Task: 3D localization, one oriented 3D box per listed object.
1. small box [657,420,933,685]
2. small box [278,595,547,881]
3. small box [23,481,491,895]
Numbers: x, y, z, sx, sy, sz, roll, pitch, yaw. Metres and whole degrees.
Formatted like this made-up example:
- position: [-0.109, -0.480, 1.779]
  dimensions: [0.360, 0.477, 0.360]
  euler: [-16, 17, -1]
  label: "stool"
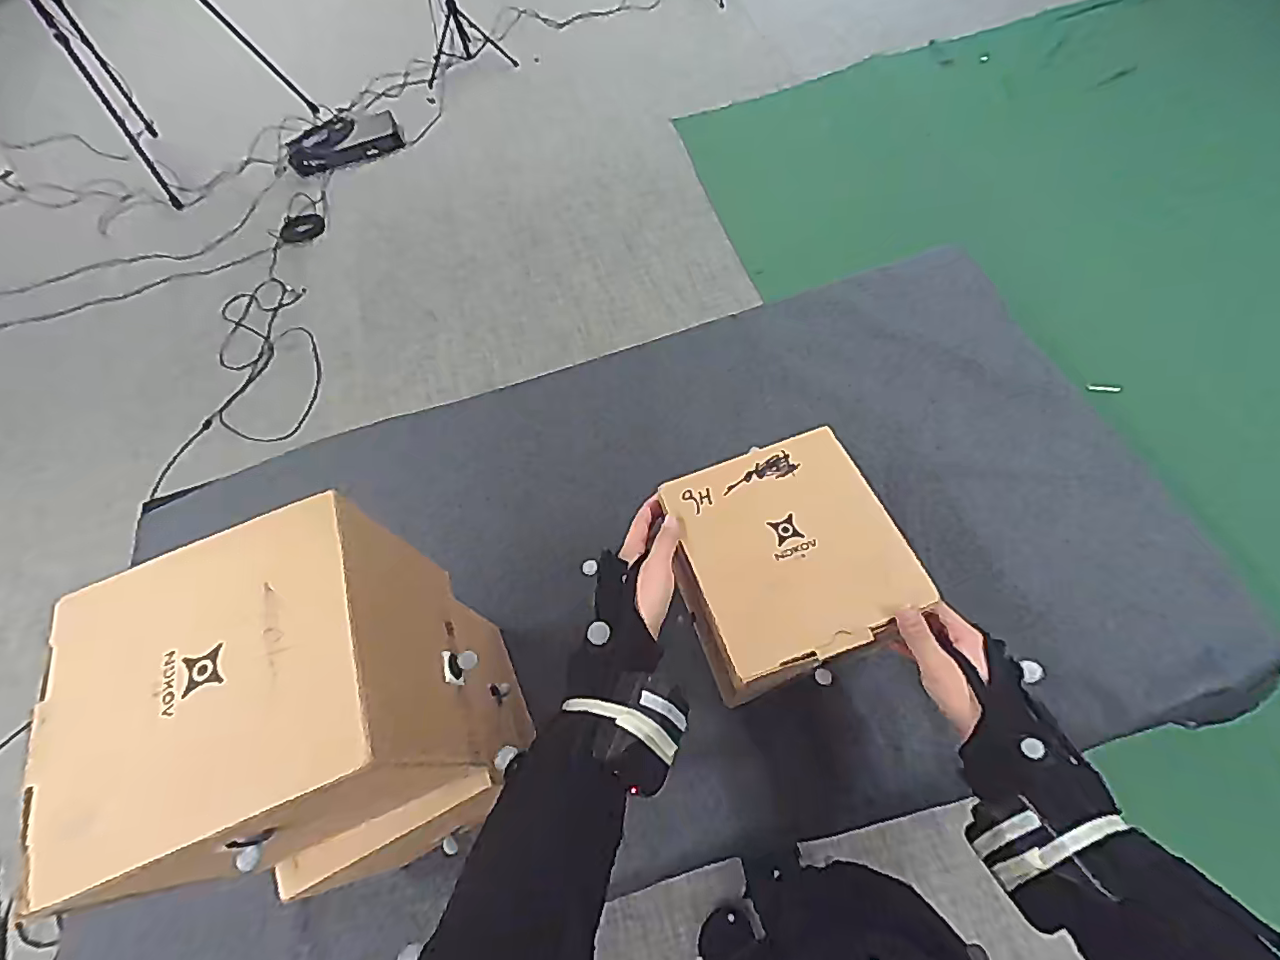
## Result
- position: [0.125, 0.079, 0.508]
  dimensions: [0.168, 0.176, 0.179]
  euler: [-20, 63, -6]
  label: "small box"
- position: [-0.206, 0.221, 0.500]
  dimensions: [0.168, 0.176, 0.179]
  euler: [-27, 63, -6]
  label: "small box"
- position: [-0.227, 0.134, 0.364]
  dimensions: [0.179, 0.176, 0.168]
  euler: [-23, 63, -5]
  label: "small box"
